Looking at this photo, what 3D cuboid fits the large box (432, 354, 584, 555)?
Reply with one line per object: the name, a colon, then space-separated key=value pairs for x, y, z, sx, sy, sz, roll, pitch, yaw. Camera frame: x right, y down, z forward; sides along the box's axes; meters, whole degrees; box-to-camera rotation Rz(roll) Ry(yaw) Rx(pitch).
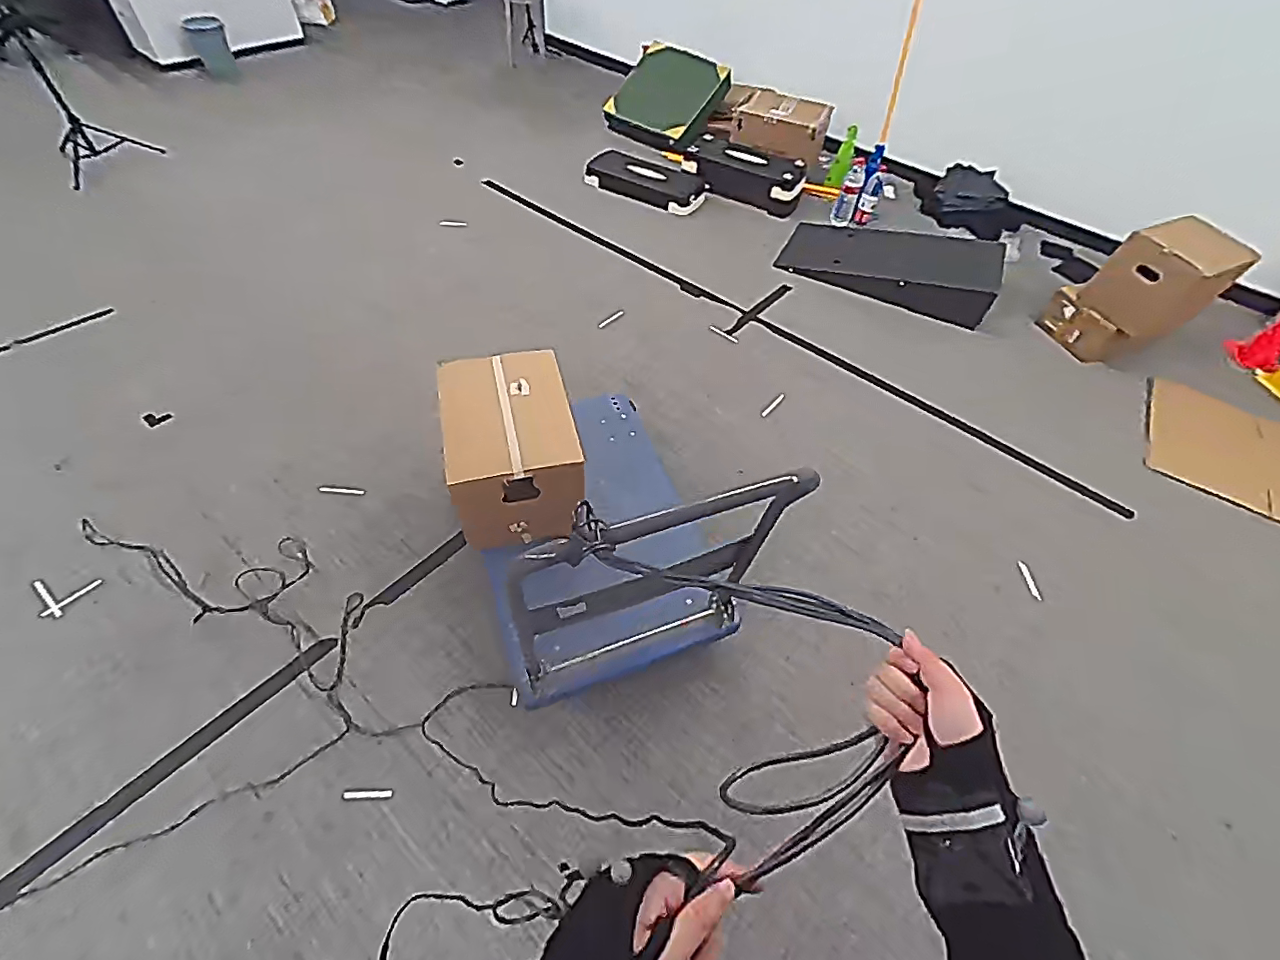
large box: x=-0.345 y=-0.071 z=1.442 sx=0.320 sy=0.320 sz=0.408 roll=-11 pitch=55 yaw=-14
